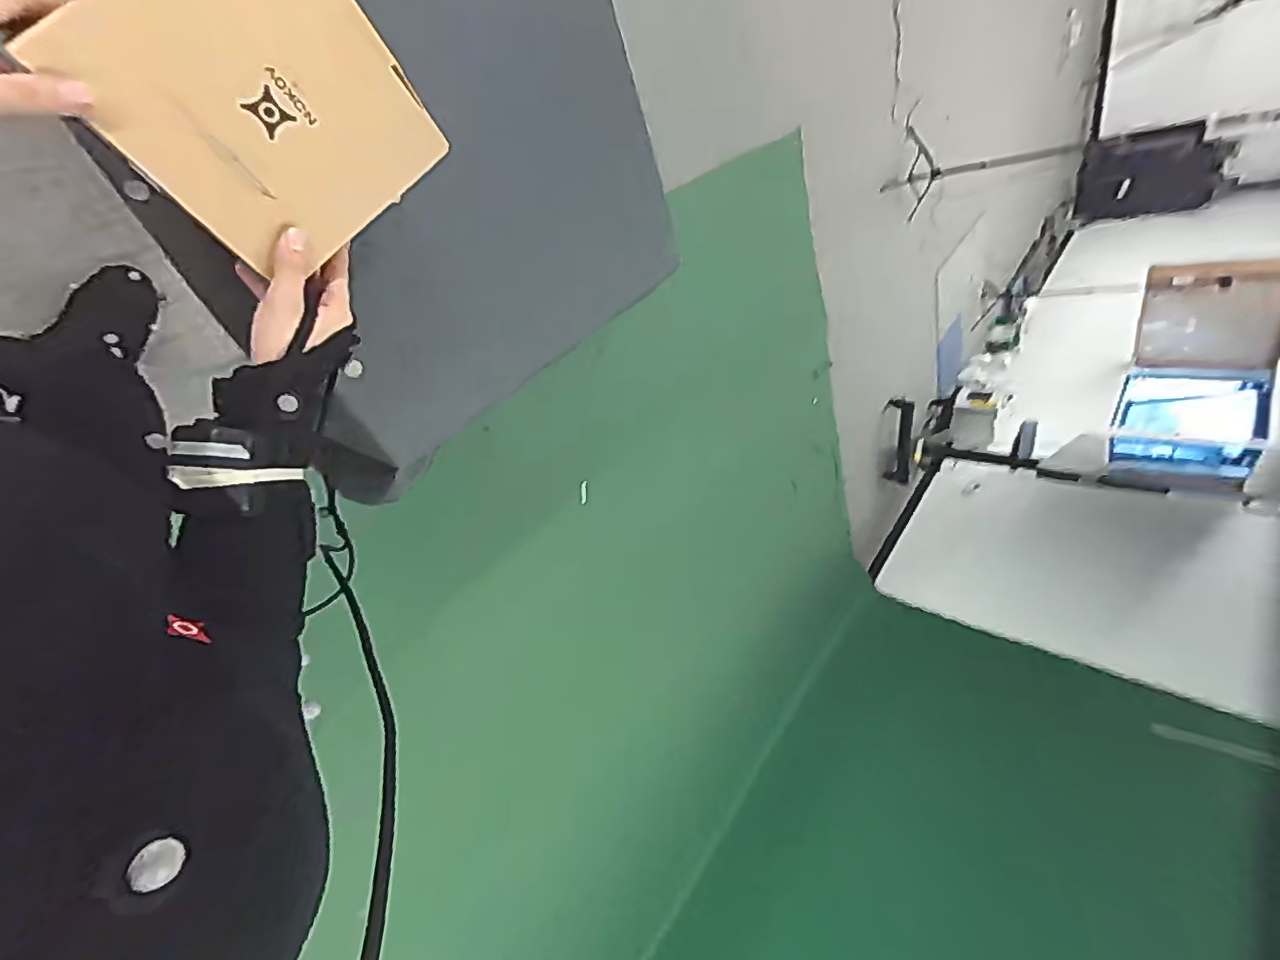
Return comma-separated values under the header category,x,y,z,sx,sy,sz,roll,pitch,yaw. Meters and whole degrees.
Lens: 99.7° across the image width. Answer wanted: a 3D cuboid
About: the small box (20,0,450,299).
category,x,y,z,sx,sy,sz,roll,pitch,yaw
small box,-0.289,-0.270,0.410,0.179,0.176,0.168,-49,135,-10
